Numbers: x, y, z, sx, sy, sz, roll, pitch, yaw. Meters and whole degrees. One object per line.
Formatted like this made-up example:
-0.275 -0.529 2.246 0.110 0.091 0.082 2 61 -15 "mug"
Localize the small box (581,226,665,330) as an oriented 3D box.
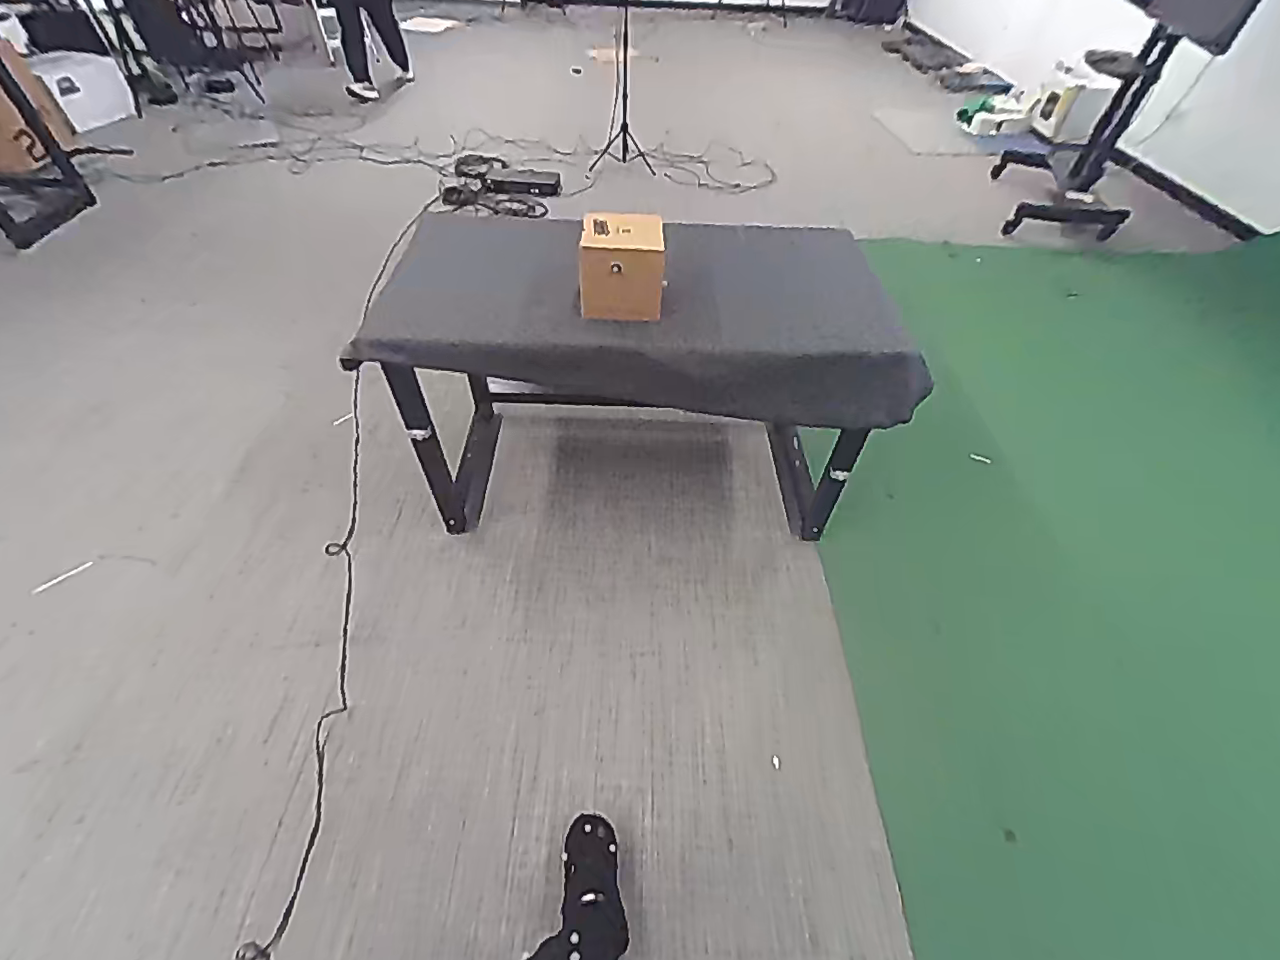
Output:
-0.038 -0.455 1.224 0.179 0.176 0.168 1 48 -2 "small box"
